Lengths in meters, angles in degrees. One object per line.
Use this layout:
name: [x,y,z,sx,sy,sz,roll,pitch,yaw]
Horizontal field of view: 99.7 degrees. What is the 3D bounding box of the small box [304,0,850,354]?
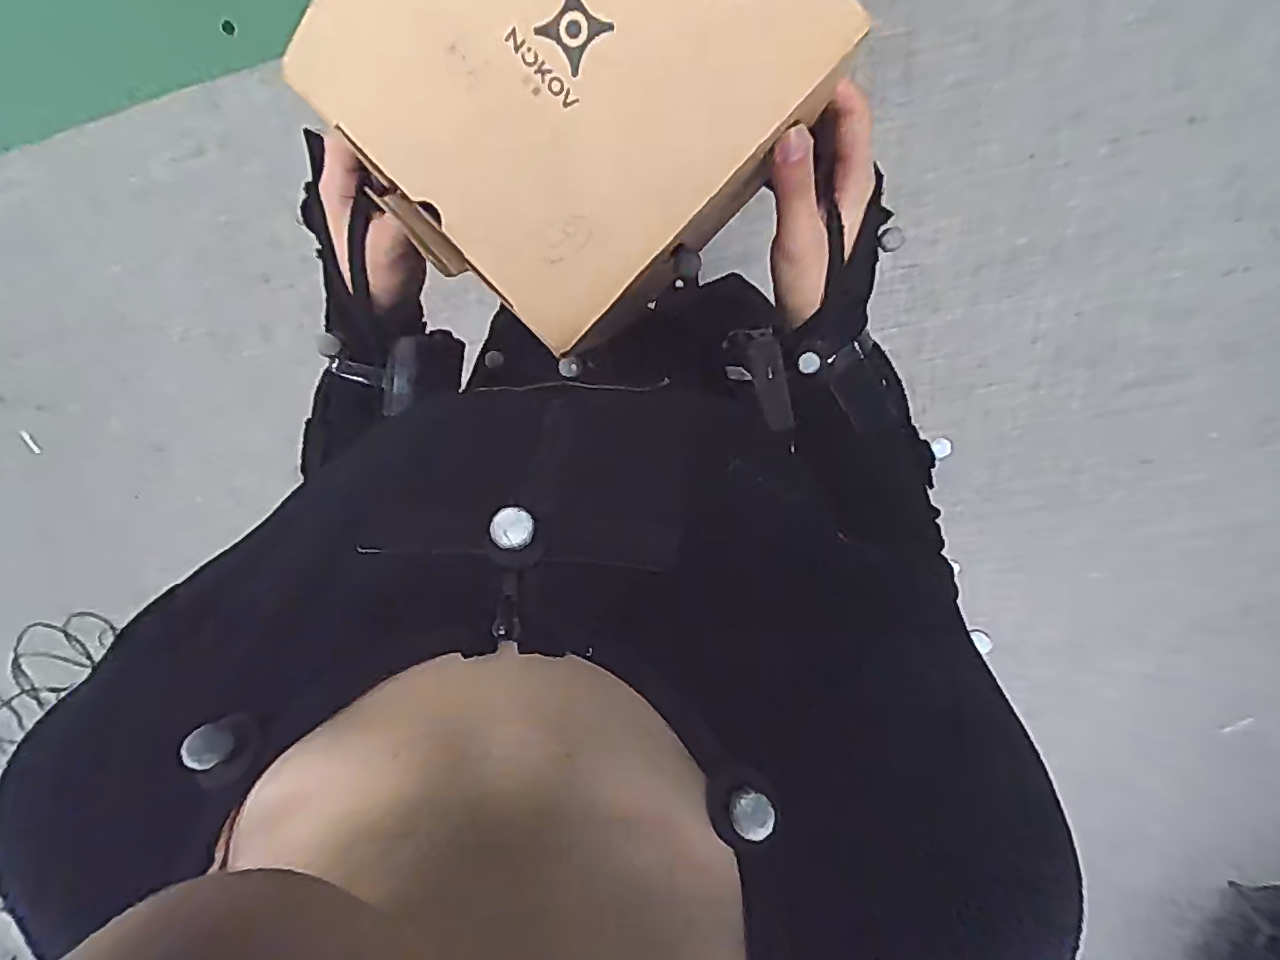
small box: [-0.023,-0.194,0.297,0.168,0.176,0.179,44,107,-9]
